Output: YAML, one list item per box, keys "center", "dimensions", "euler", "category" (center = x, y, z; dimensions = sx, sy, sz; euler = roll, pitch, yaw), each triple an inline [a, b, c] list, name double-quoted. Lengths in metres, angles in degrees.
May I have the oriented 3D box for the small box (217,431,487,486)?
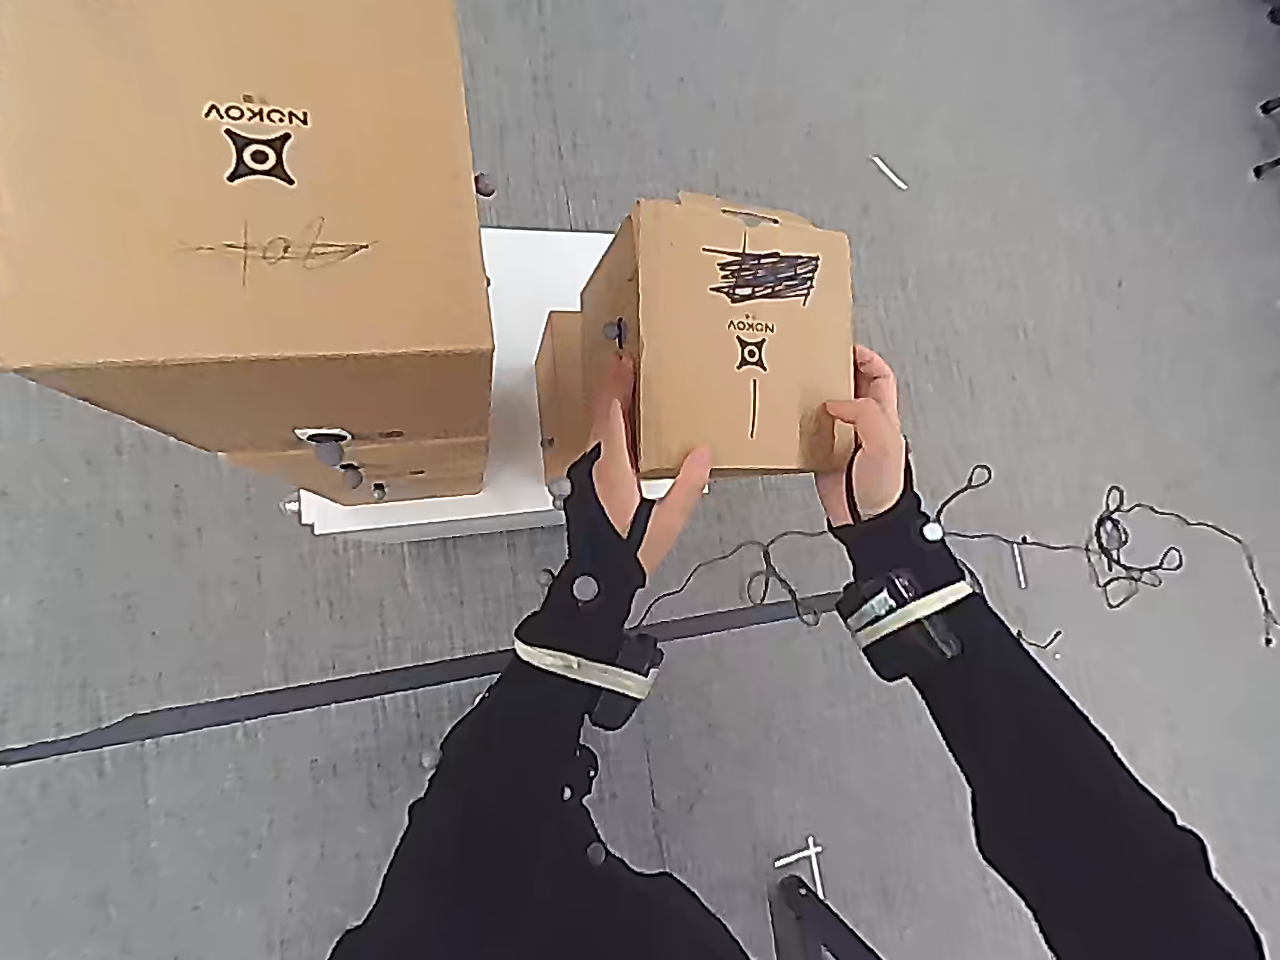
- center: [-0.217, -0.092, 0.443]
  dimensions: [0.168, 0.176, 0.179]
  euler: [-6, 83, -17]
  category: "small box"

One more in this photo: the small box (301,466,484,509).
- center: [-0.264, -0.070, 0.597]
  dimensions: [0.168, 0.176, 0.179]
  euler: [-5, 82, -16]
  category: "small box"

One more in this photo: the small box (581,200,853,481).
- center: [0.049, -0.090, 0.443]
  dimensions: [0.168, 0.176, 0.179]
  euler: [-1, 89, -19]
  category: "small box"

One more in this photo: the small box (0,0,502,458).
- center: [-0.170, -0.118, 0.290]
  dimensions: [0.168, 0.176, 0.179]
  euler: [-7, 84, -17]
  category: "small box"
